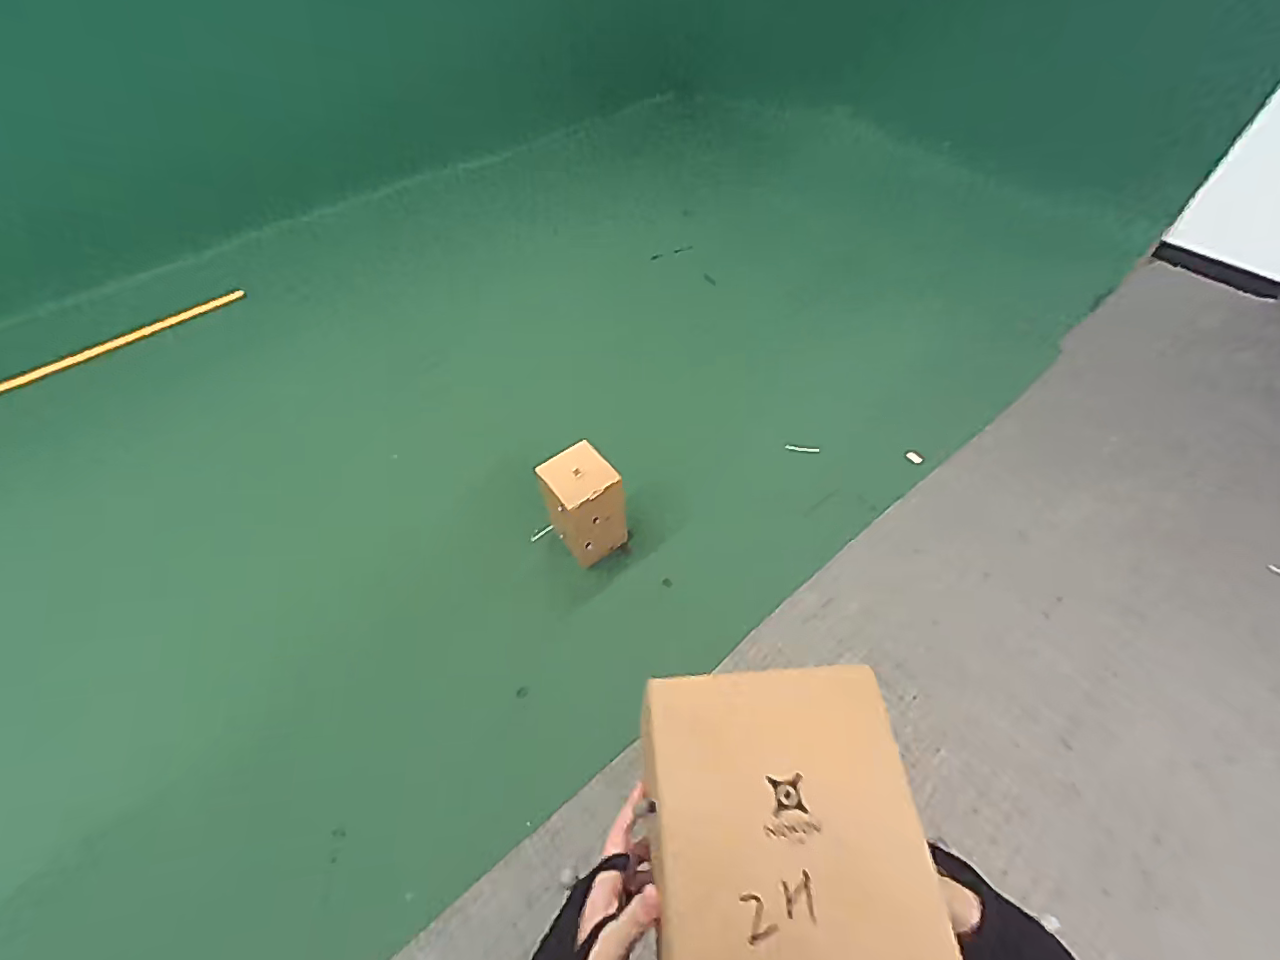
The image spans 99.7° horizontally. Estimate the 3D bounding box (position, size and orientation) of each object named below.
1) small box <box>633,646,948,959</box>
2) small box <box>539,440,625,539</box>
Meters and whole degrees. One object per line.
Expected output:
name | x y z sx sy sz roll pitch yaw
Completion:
small box | 0.082 0.242 0.408 0.168 0.176 0.179 -4 56 -4
small box | -0.157 0.029 1.498 0.168 0.176 0.179 -33 58 -20
